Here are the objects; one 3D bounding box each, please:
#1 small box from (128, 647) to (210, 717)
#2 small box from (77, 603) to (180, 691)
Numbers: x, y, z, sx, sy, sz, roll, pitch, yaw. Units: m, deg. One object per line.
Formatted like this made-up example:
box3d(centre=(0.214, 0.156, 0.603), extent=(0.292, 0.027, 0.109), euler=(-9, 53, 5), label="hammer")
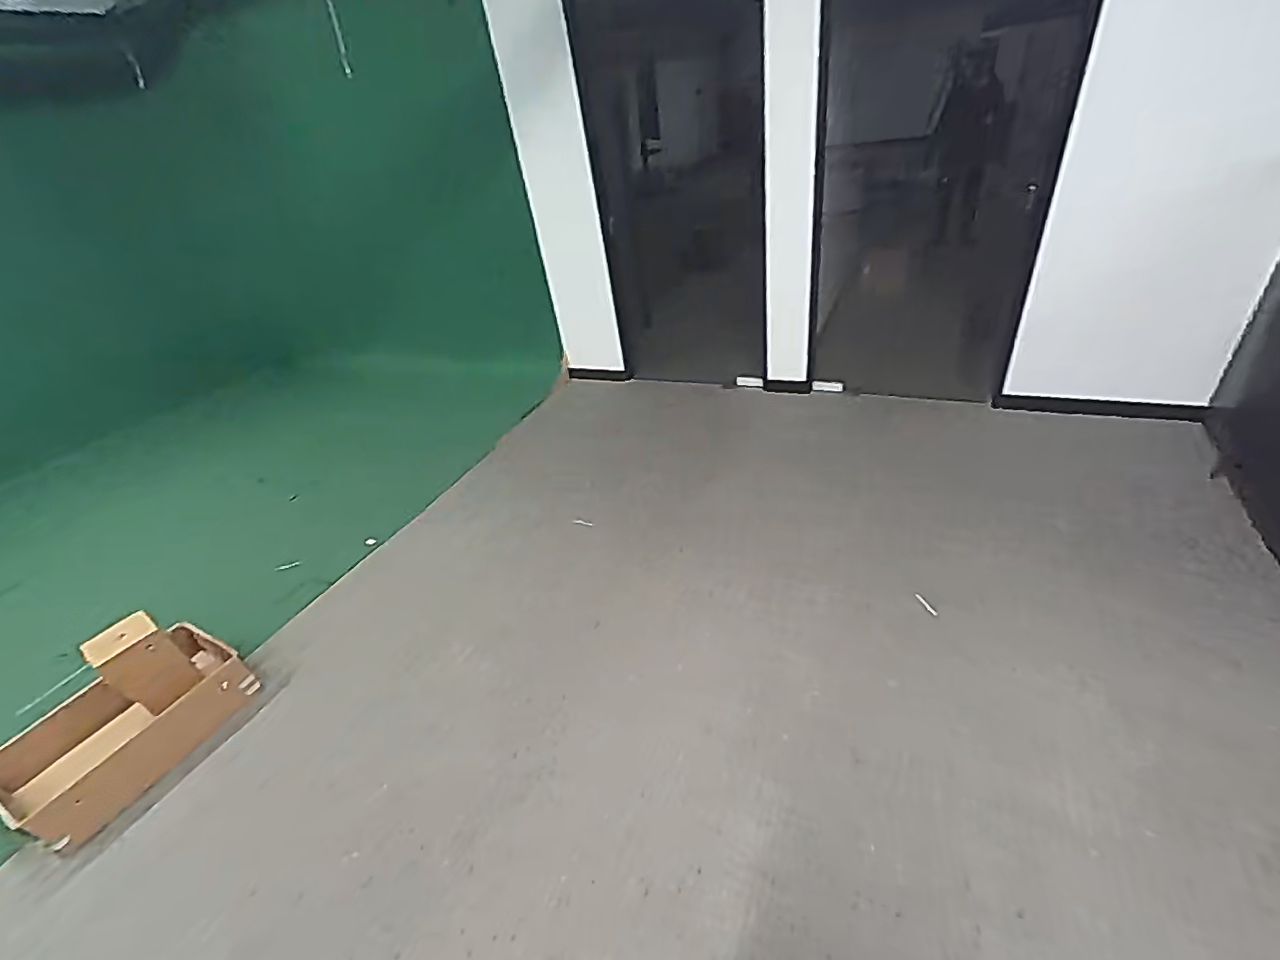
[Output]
box3d(centre=(-1.630, 0.673, 1.848), extent=(0.179, 0.176, 0.168), euler=(18, 43, 30), label="small box")
box3d(centre=(-1.645, 0.540, 1.751), extent=(0.168, 0.176, 0.179), euler=(18, 43, 32), label="small box")
